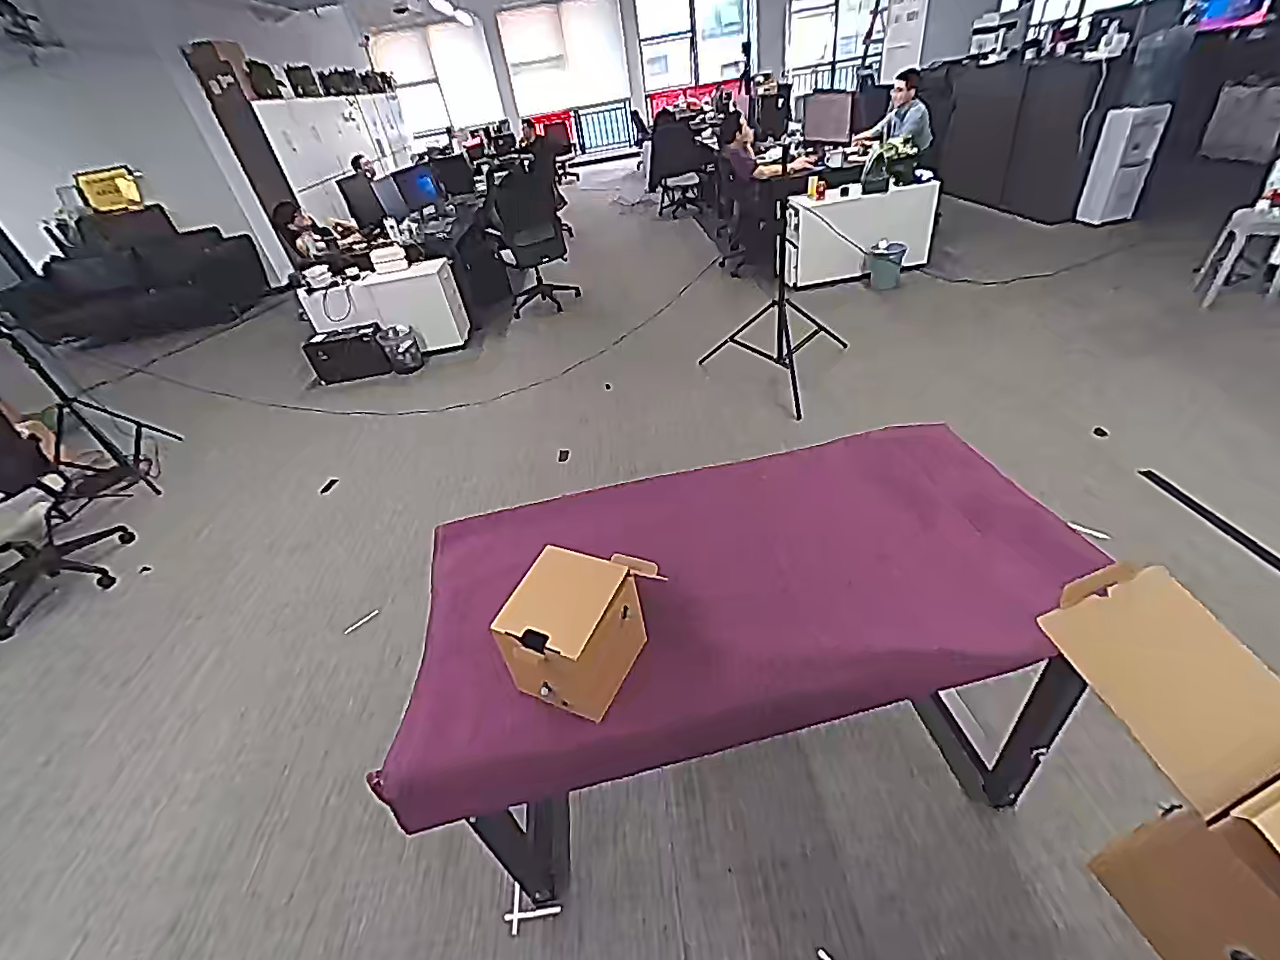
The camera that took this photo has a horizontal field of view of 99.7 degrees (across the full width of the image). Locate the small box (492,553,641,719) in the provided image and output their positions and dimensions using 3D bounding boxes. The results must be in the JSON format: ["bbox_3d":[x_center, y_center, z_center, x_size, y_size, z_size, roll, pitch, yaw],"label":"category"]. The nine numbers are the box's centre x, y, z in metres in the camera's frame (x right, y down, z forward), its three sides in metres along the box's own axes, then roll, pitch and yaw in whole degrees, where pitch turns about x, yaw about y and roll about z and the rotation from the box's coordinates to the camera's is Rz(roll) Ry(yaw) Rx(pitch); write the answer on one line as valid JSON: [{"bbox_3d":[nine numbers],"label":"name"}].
[{"bbox_3d":[-0.110,0.256,0.901,0.168,0.176,0.179,10,40,27],"label":"small box"}]
